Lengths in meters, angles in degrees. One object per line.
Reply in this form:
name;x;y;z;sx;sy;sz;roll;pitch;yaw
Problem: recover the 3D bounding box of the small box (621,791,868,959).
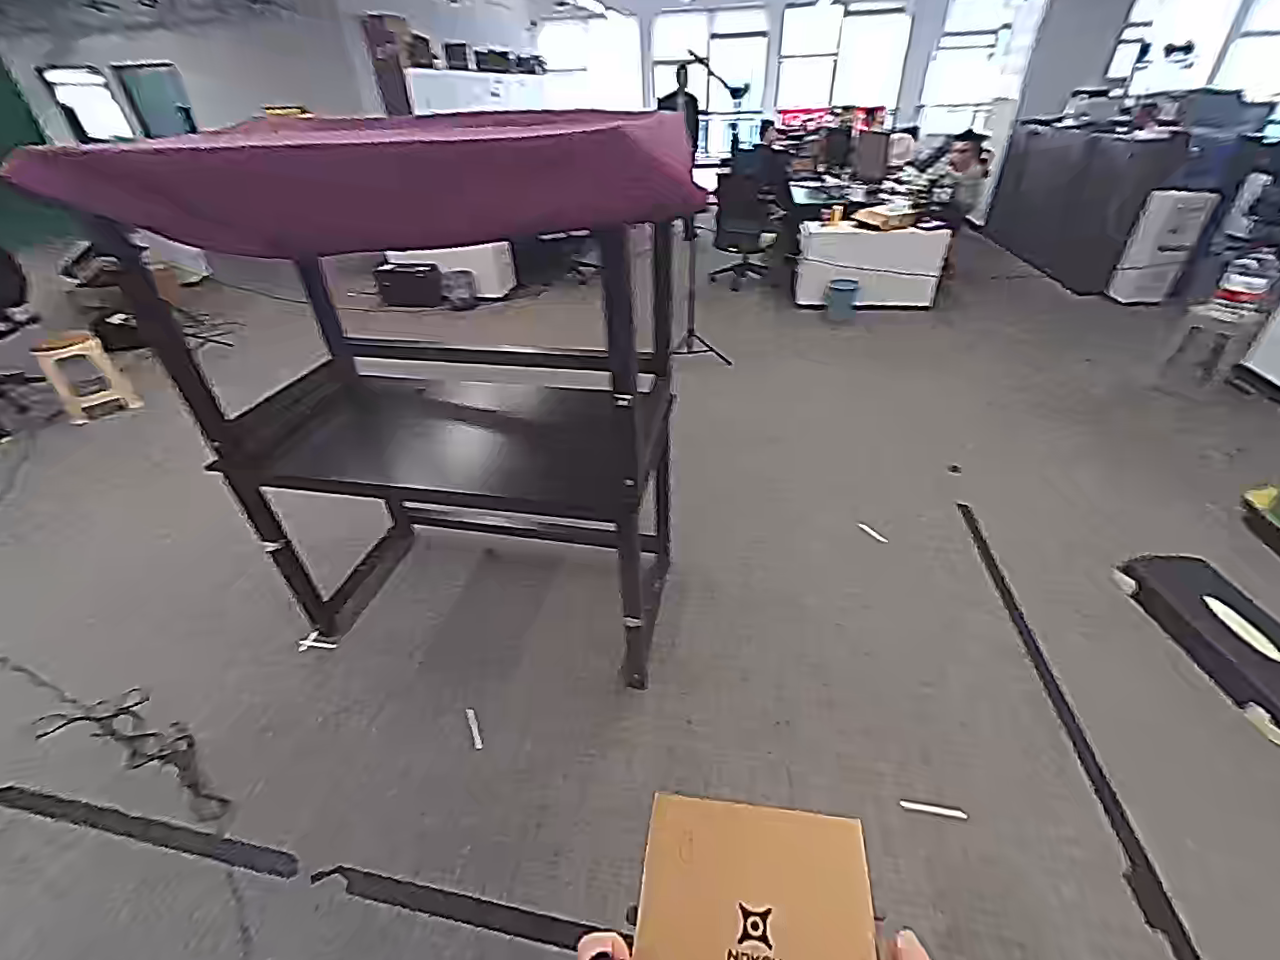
small box;0.078;0.376;0.418;0.168;0.176;0.179;0;39;11
